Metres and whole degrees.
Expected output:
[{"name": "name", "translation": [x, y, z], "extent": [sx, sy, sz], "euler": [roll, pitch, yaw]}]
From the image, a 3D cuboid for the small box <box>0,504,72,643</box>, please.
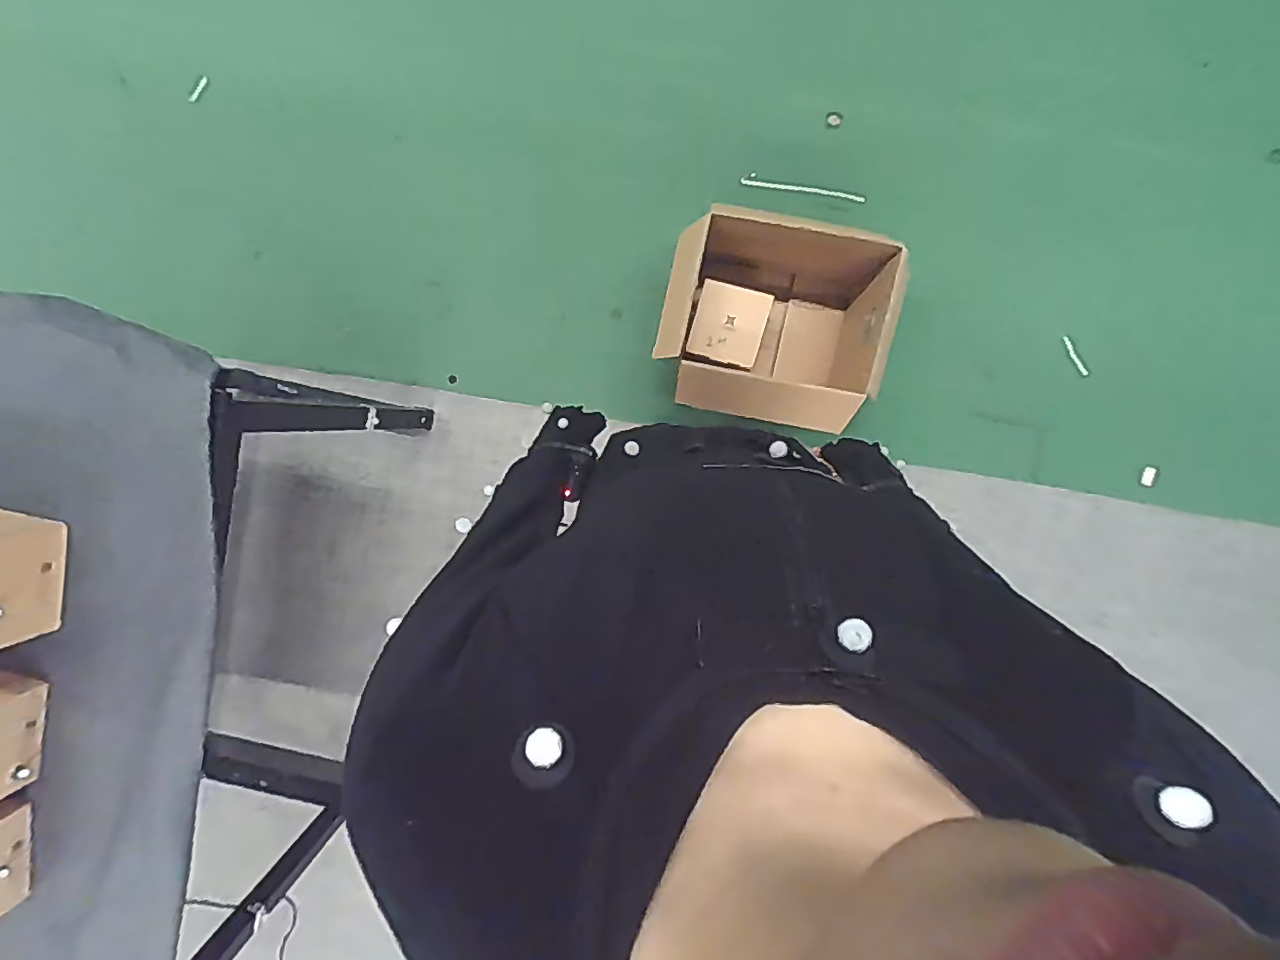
[{"name": "small box", "translation": [-0.937, 0.129, 0.732], "extent": [0.179, 0.176, 0.168], "euler": [11, 97, 2]}]
